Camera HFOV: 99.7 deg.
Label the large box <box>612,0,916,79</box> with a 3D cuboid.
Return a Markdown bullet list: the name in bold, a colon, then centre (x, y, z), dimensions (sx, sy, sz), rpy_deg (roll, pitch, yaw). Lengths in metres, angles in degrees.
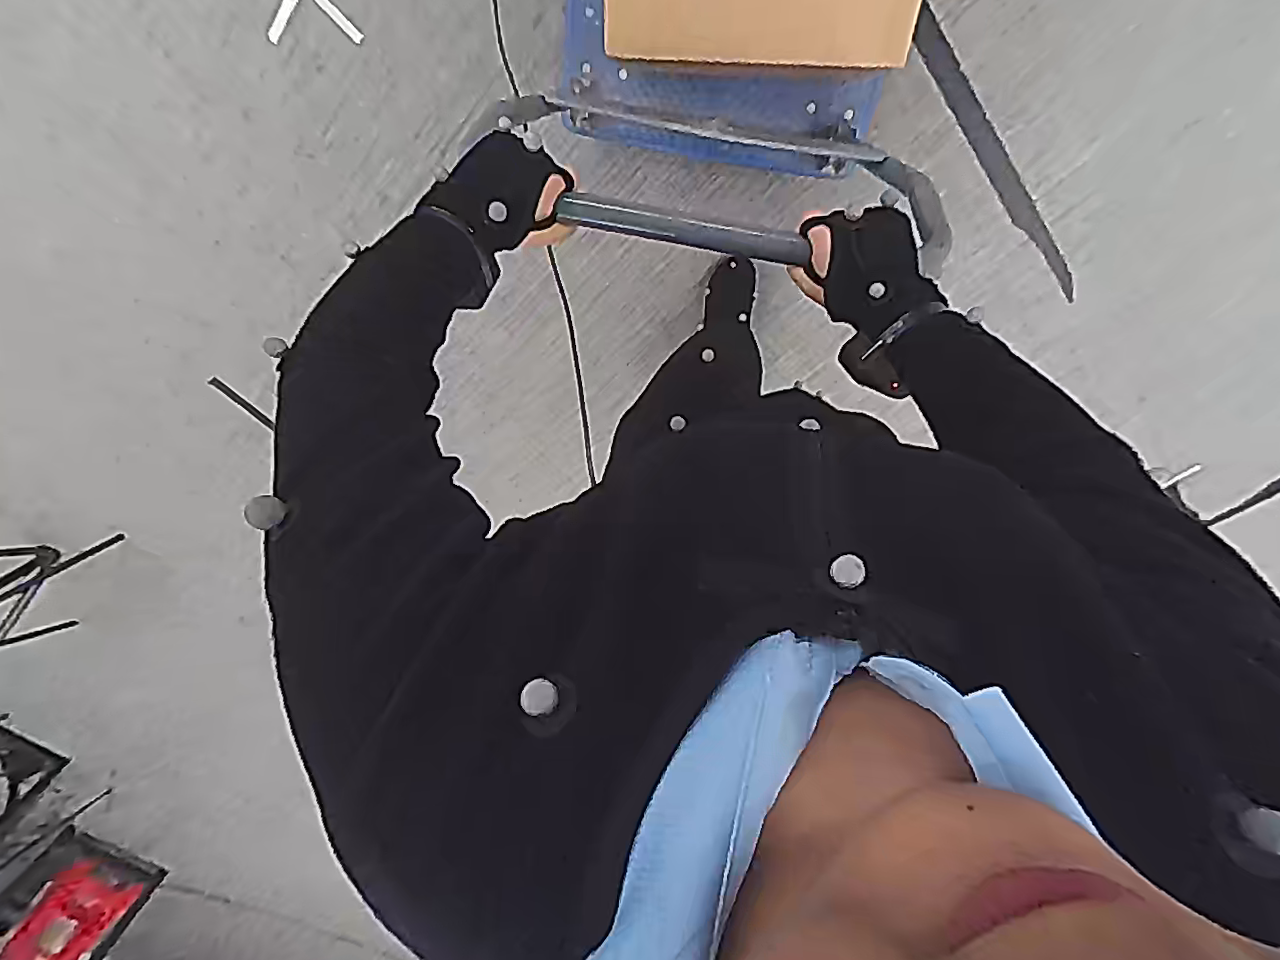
- **large box**: centre (0.173, -0.784, 0.783), dimensions (0.408, 0.320, 0.320), rpy_deg (4, 125, 4)
